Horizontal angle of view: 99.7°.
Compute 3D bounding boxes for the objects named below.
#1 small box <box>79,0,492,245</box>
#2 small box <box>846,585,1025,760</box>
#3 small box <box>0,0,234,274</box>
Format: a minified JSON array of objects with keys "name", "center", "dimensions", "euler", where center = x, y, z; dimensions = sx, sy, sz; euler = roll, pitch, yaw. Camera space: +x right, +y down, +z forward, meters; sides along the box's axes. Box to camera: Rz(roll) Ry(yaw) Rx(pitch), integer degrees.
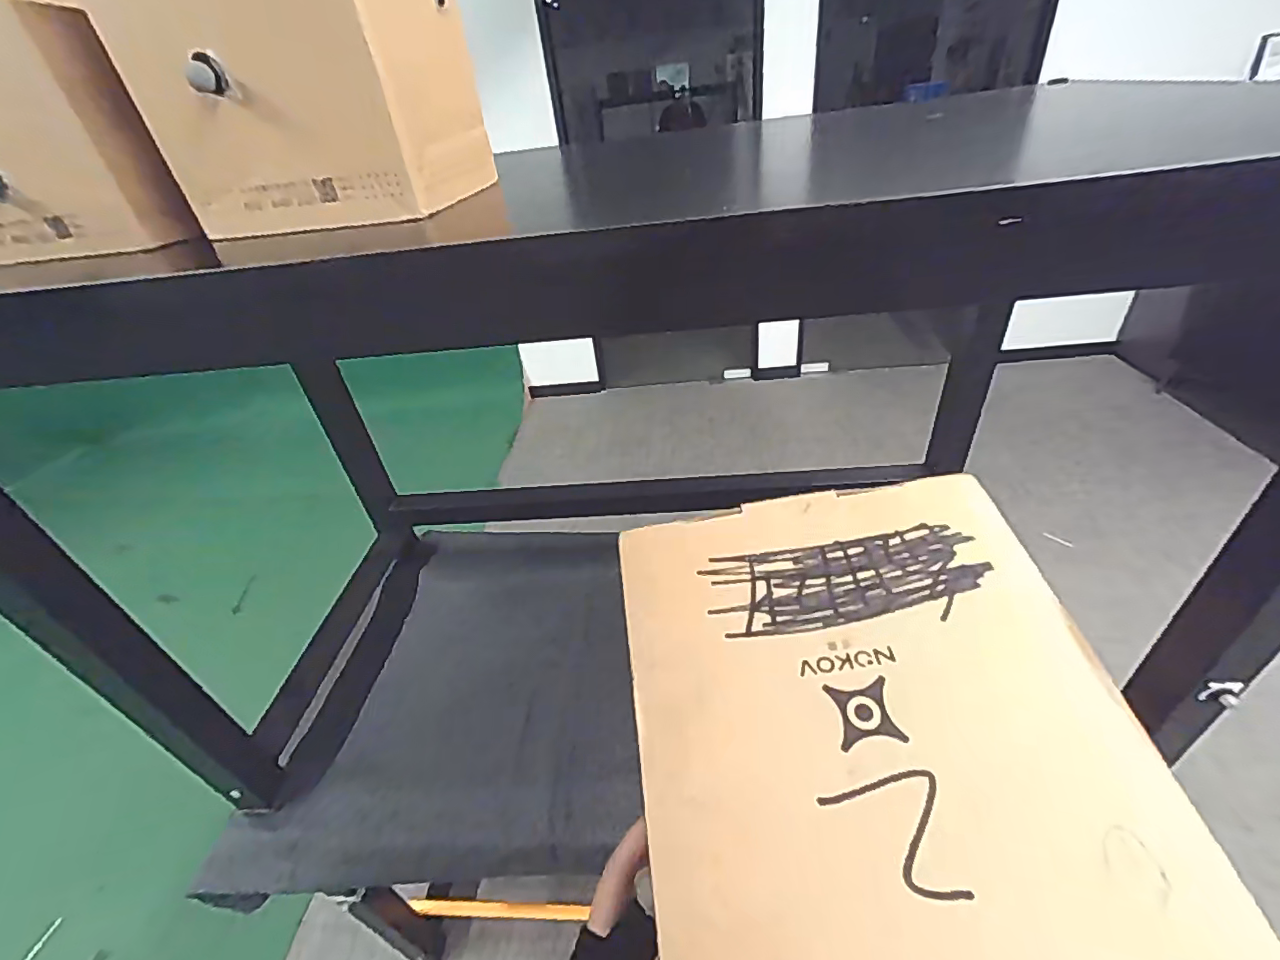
[{"name":"small box","center":[-0.228,-0.281,0.403],"dimensions":[0.168,0.176,0.179],"euler":[-2,35,8]},{"name":"small box","center":[0.398,0.271,0.766],"dimensions":[0.168,0.176,0.179],"euler":[-1,35,9]},{"name":"small box","center":[-0.424,-0.269,0.419],"dimensions":[0.168,0.176,0.179],"euler":[-2,37,7]}]
